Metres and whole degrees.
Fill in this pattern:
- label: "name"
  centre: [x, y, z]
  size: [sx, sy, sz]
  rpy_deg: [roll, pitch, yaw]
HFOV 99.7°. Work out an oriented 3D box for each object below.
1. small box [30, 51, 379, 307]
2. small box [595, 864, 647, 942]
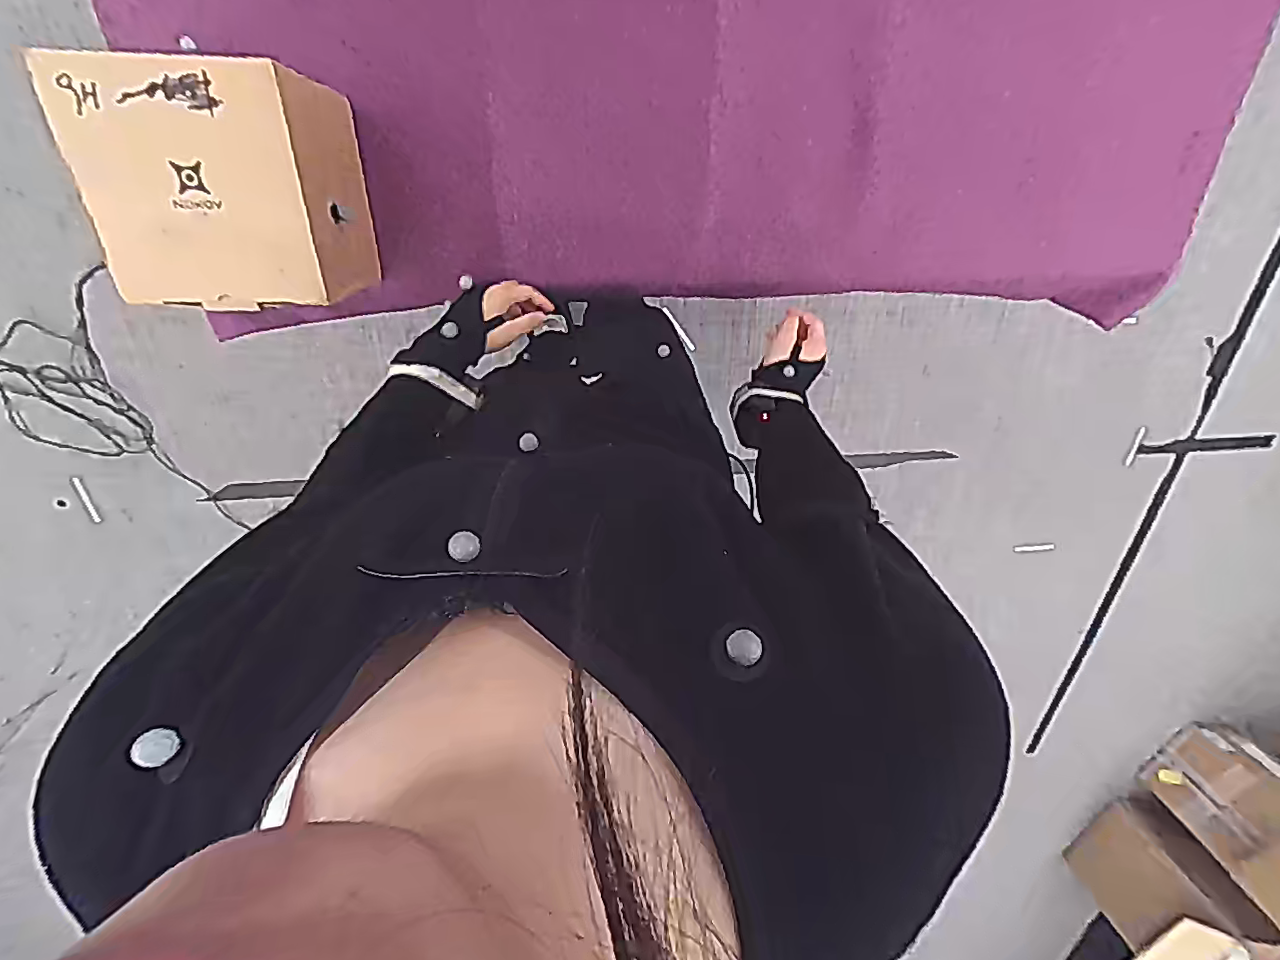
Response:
- label: "small box"
  centre: [-0.362, -0.266, 0.499]
  size: [0.168, 0.176, 0.179]
  rpy_deg: [-3, 118, -8]
- label: "small box"
  centre: [-0.072, 1.541, 1.979]
  size: [0.179, 0.176, 0.168]
  rpy_deg: [-4, 117, -5]
